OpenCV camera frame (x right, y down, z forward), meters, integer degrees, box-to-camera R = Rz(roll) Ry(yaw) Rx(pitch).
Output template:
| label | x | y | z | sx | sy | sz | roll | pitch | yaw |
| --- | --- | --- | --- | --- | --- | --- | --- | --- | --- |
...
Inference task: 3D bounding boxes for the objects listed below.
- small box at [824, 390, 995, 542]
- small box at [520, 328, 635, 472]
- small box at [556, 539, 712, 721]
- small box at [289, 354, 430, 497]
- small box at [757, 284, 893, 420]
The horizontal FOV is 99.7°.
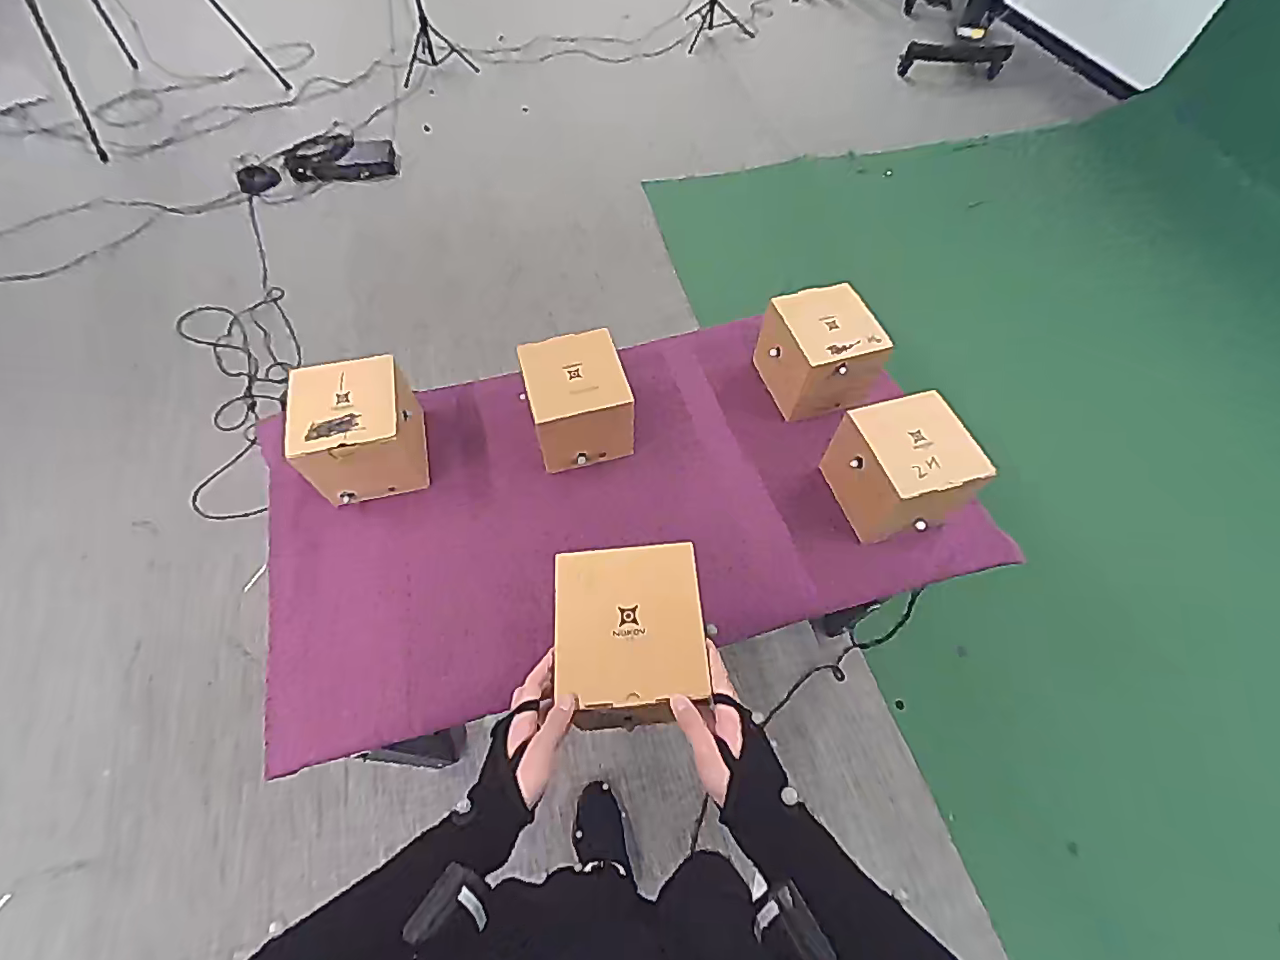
| label | x | y | z | sx | sy | sz | roll | pitch | yaw |
| --- | --- | --- | --- | --- | --- | --- | --- | --- | --- |
| small box | 0.437 | -0.020 | 0.915 | 0.168 | 0.176 | 0.179 | -14 | 60 | -7 |
| small box | -0.112 | -0.141 | 0.979 | 0.168 | 0.176 | 0.179 | -14 | 62 | -9 |
| small box | -0.009 | 0.190 | 0.670 | 0.168 | 0.176 | 0.179 | -5 | 61 | 0 |
| small box | -0.472 | -0.085 | 0.932 | 0.168 | 0.176 | 0.179 | -12 | 62 | -9 |
| small box | 0.343 | -0.245 | 1.049 | 0.168 | 0.176 | 0.179 | -15 | 61 | -9 |
